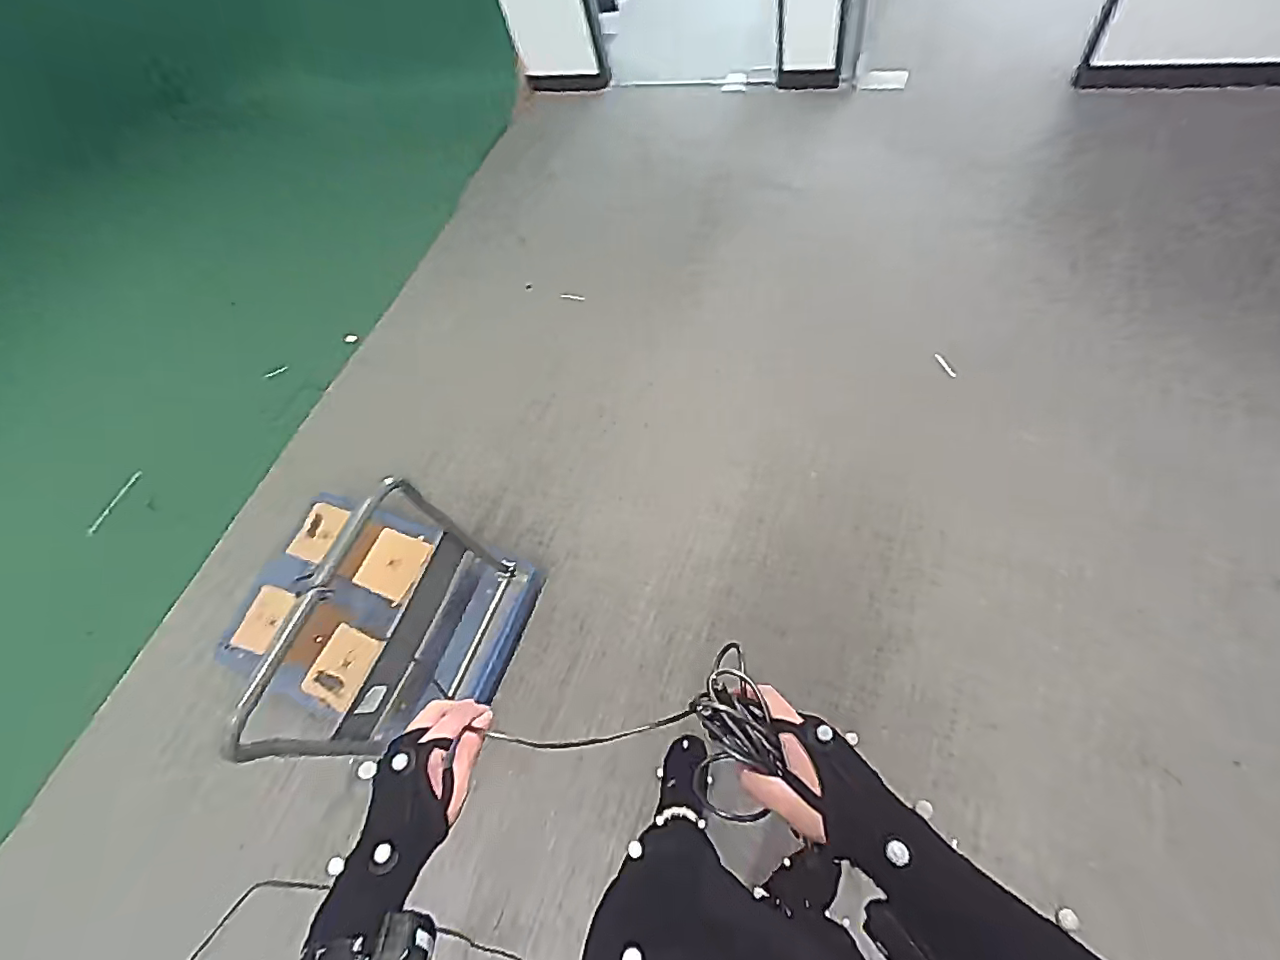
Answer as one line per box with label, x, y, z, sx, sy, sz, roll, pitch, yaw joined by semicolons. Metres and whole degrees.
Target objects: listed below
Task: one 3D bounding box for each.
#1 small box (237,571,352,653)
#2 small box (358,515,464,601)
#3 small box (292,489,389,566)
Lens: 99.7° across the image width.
small box;-0.951;0.373;1.507;0.179;0.176;0.168;12;67;18
small box;-0.631;0.223;1.511;0.179;0.176;0.168;17;69;19
small box;-0.862;0.149;1.595;0.179;0.176;0.168;14;69;18
